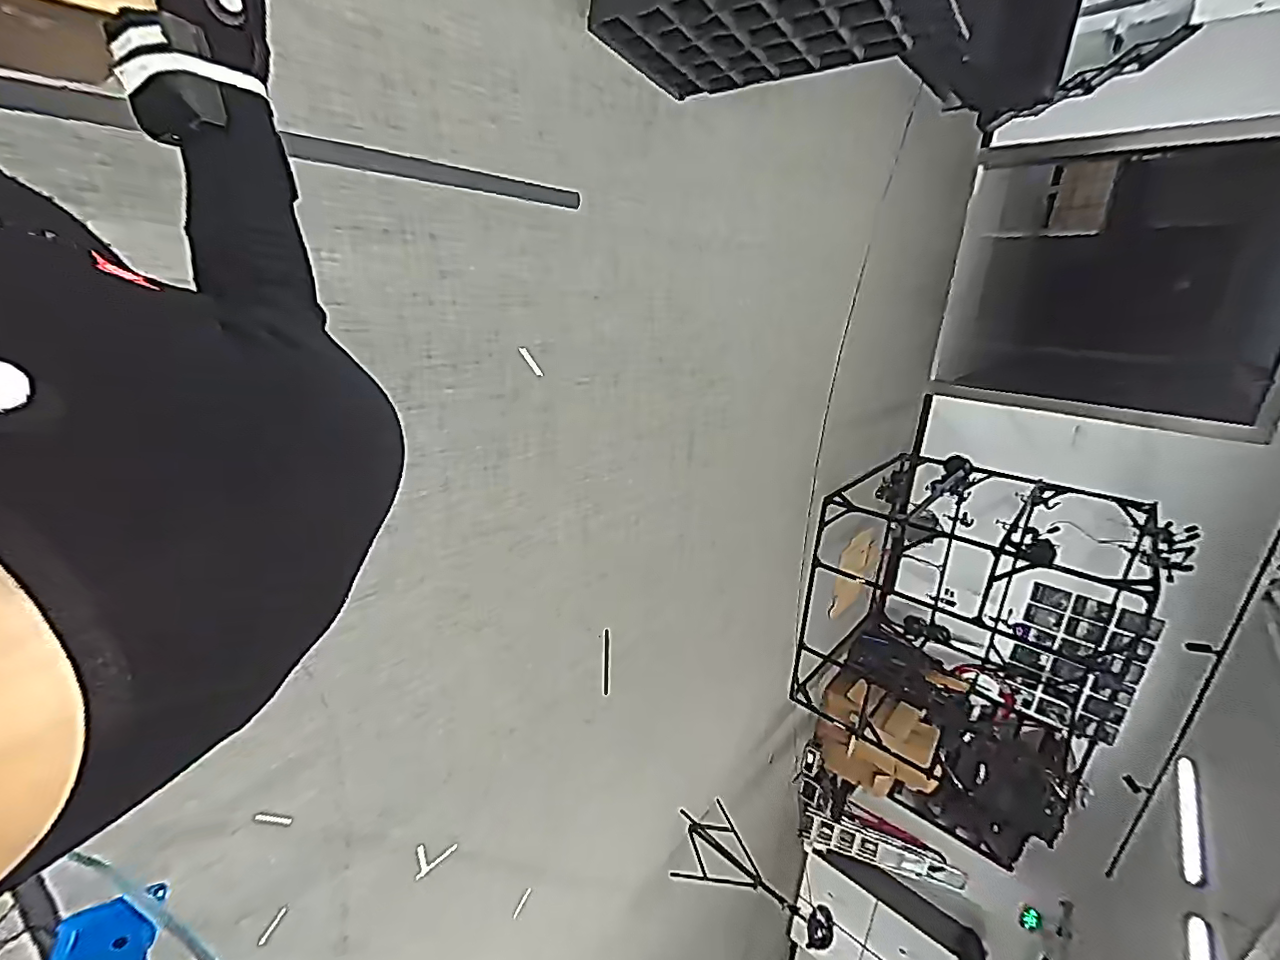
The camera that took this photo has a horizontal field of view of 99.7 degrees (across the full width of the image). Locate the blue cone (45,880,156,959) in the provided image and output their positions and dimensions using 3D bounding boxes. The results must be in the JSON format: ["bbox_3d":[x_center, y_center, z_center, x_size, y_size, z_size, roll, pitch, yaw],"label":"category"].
[{"bbox_3d":[-1.206,1.149,1.231,0.193,0.380,0.192,14,94,-53],"label":"blue cone"}]

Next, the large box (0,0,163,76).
[{"bbox_3d":[-0.568,-0.454,0.267,0.408,0.320,0.320,-22,124,-46],"label":"large box"}]
